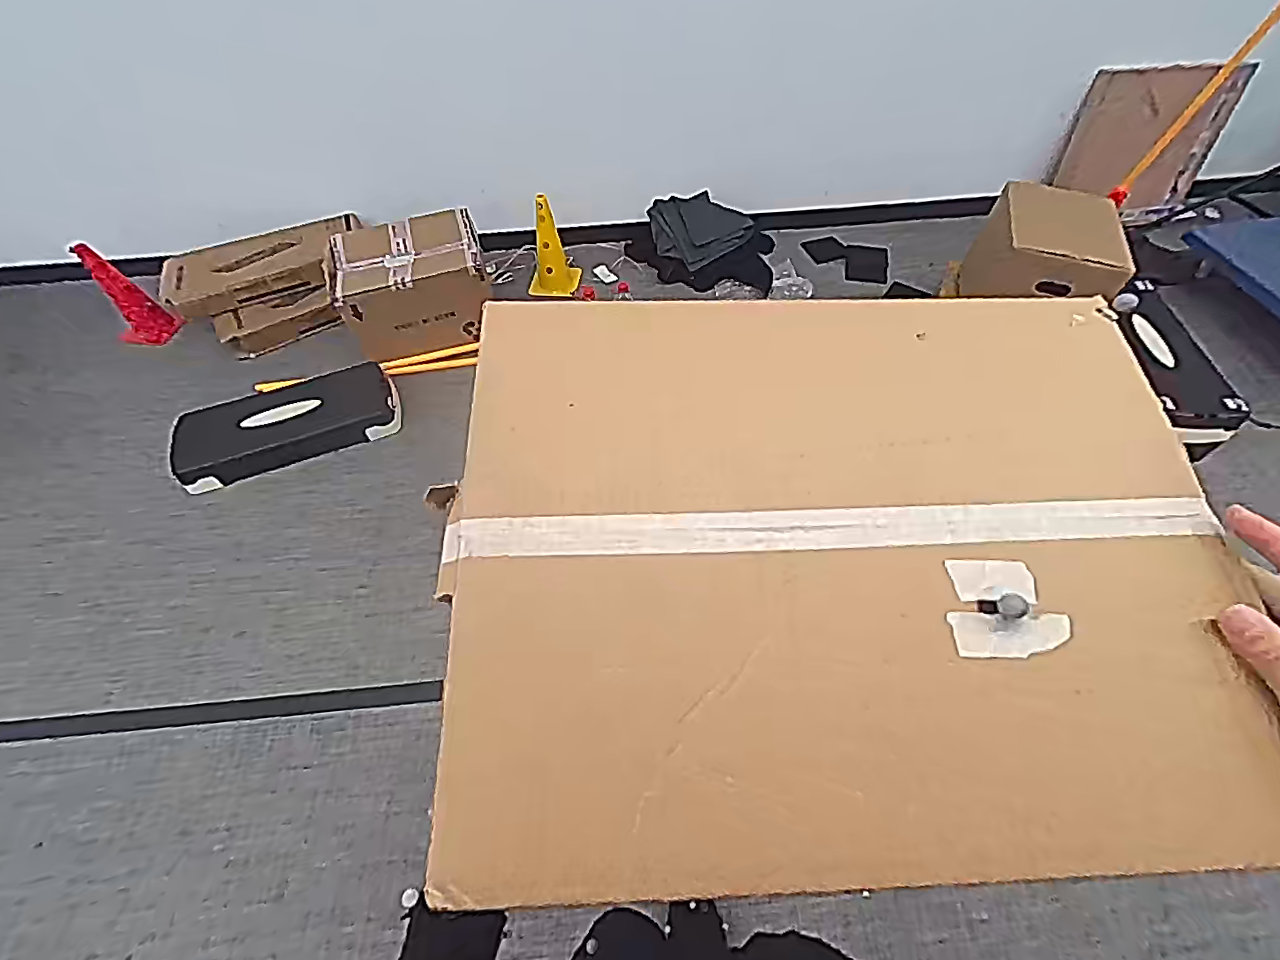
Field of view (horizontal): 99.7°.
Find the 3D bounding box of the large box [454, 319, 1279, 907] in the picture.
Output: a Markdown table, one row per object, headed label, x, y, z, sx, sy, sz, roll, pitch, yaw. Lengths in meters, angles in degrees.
| label | x | y | z | sx | sy | sz | roll | pitch | yaw |
| --- | --- | --- | --- | --- | --- | --- | --- | --- | --- |
| large box | 0.101 | 0.095 | 0.435 | 0.408 | 0.320 | 0.320 | -1 | 67 | -3 |
